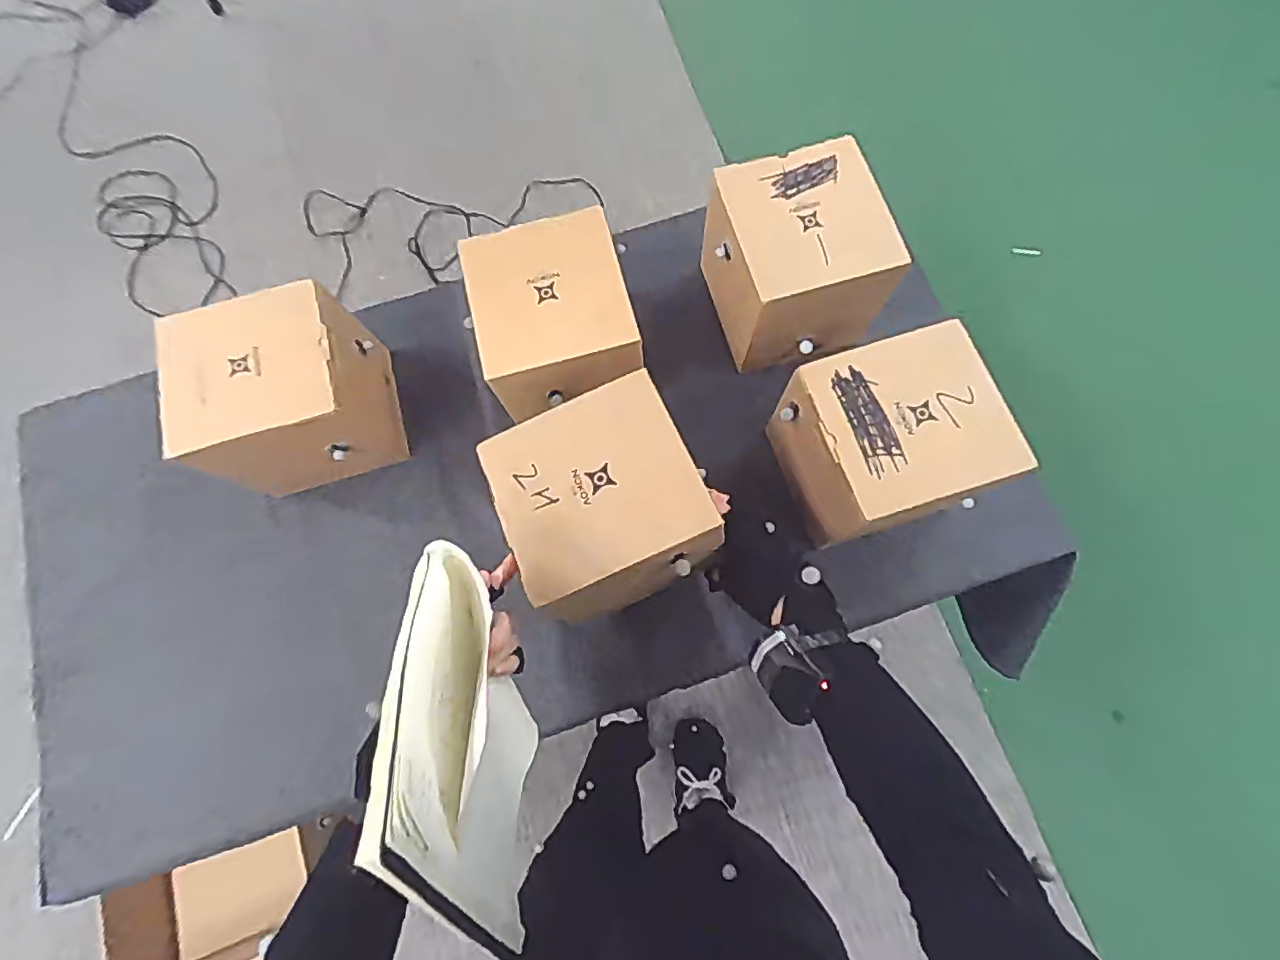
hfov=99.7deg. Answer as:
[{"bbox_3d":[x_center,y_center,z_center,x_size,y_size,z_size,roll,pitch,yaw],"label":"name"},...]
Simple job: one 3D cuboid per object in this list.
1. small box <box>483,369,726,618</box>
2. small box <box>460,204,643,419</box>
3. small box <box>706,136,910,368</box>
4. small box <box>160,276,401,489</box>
[{"bbox_3d":[-0.026,0.025,0.547,0.179,0.176,0.168,-25,68,1],"label":"small box"},{"bbox_3d":[-0.094,-0.183,0.647,0.168,0.176,0.179,-15,75,-2],"label":"small box"},{"bbox_3d":[0.184,-0.264,0.656,0.168,0.176,0.179,-15,76,-2],"label":"small box"},{"bbox_3d":[-0.401,-0.103,0.634,0.179,0.176,0.168,-15,75,-3],"label":"small box"}]
